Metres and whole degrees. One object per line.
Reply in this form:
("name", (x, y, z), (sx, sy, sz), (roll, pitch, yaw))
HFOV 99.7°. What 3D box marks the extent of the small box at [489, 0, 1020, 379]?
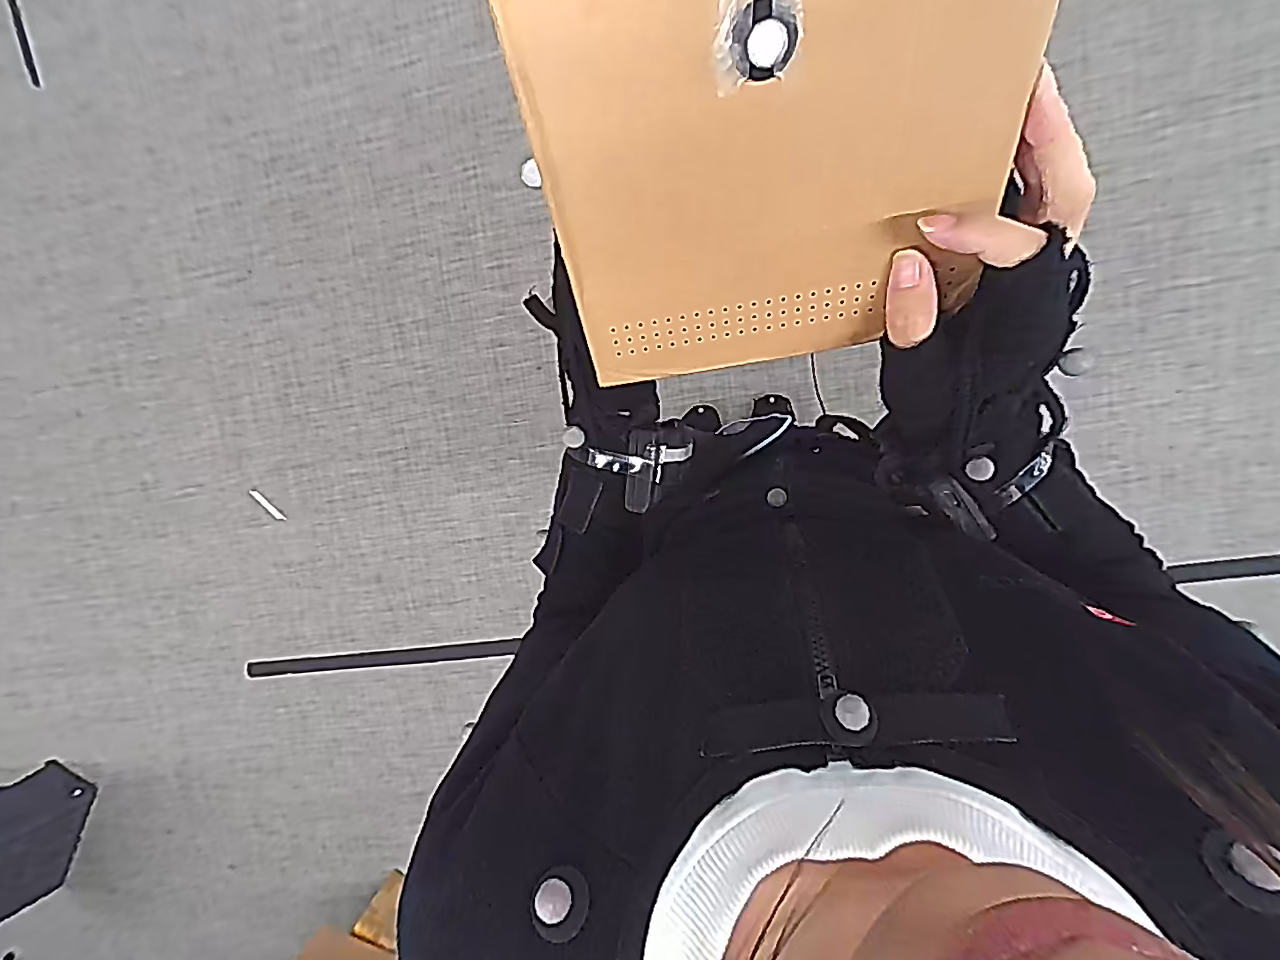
("small box", (0.050, -0.167, 0.263), (0.179, 0.168, 0.176), (-8, 137, 7))
